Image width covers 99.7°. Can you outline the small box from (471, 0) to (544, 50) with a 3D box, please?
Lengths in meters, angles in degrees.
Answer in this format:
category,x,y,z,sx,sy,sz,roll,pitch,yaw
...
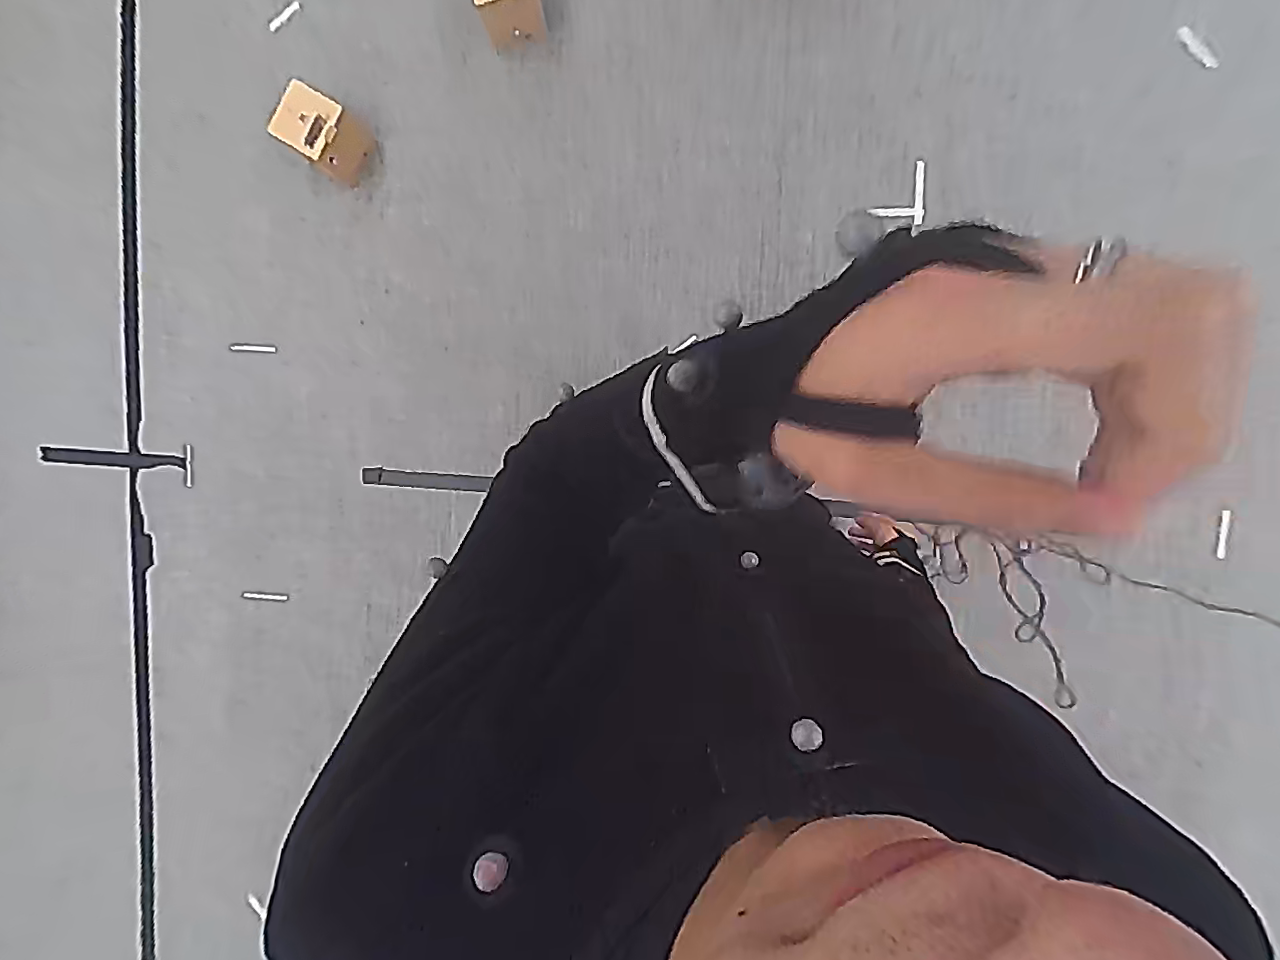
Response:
category,x,y,z,sx,sy,sz,roll,pitch,yaw
small box,-0.380,-1.370,1.517,0.168,0.176,0.179,-12,93,5
